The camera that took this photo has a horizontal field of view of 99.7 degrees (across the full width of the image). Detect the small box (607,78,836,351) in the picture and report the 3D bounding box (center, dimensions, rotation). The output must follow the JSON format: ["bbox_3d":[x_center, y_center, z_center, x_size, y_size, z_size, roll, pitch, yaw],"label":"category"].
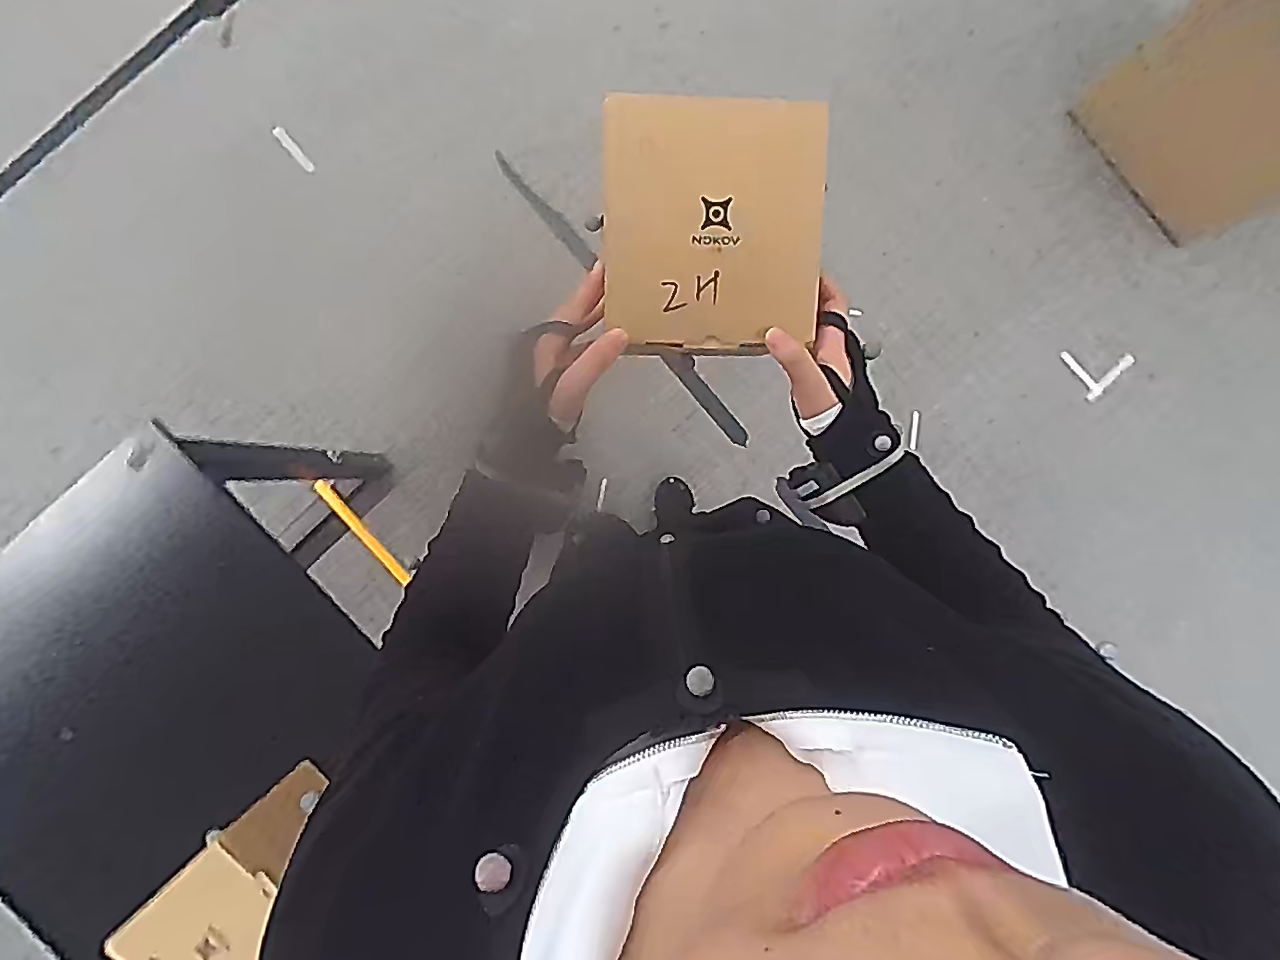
[{"bbox_3d":[0.055,-0.211,0.479,0.168,0.176,0.179,0,101,-4],"label":"small box"}]

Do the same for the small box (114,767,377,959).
[{"bbox_3d":[-0.465,0.509,0.677,0.179,0.176,0.168,-44,91,-1],"label":"small box"}]
